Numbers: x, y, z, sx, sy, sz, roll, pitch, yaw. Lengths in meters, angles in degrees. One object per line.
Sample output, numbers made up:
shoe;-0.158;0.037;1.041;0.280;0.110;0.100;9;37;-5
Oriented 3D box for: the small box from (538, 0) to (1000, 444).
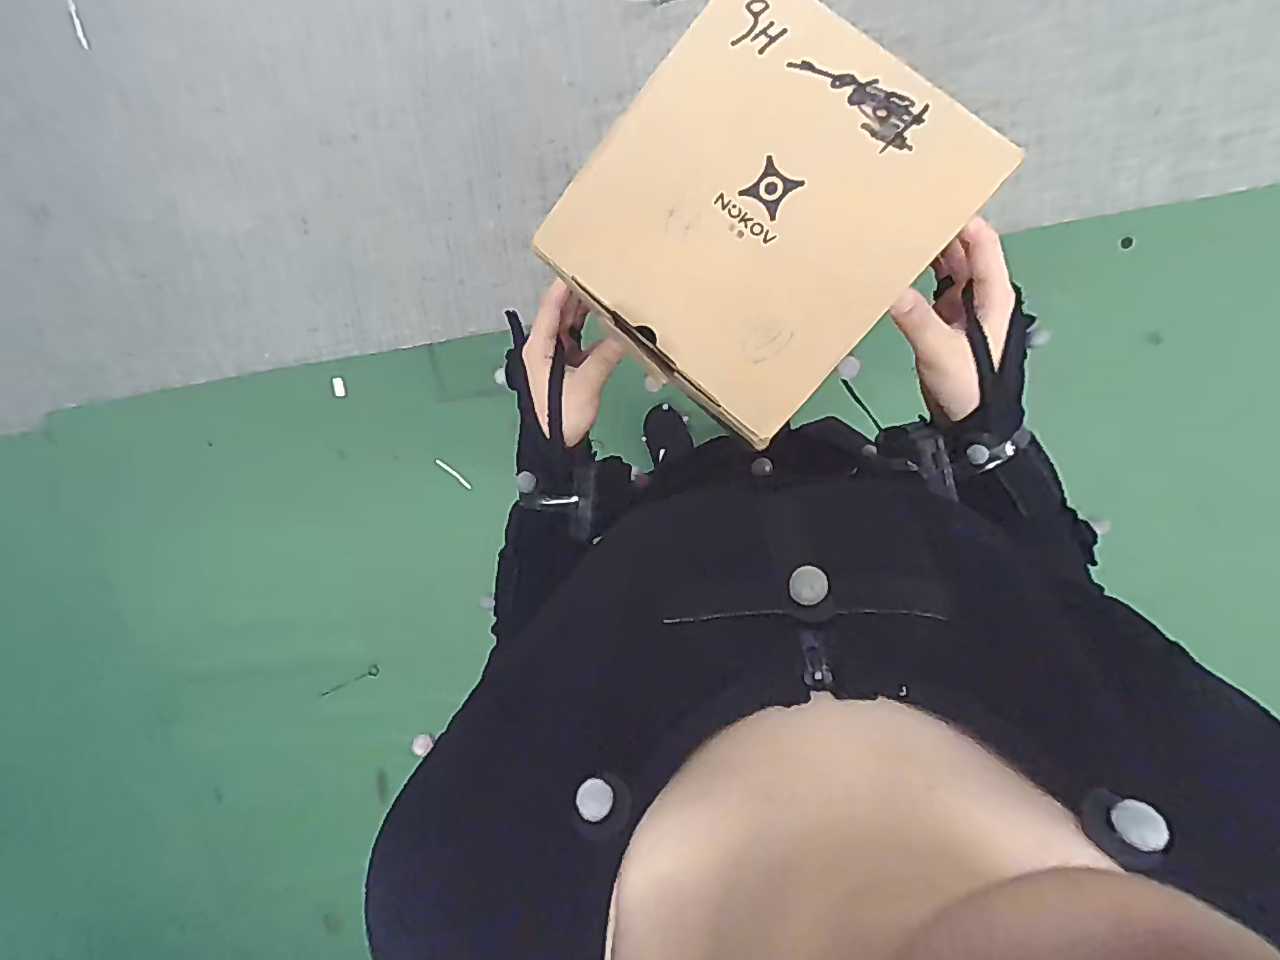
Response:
small box;0.072;-0.137;0.353;0.168;0.176;0.179;42;99;7
